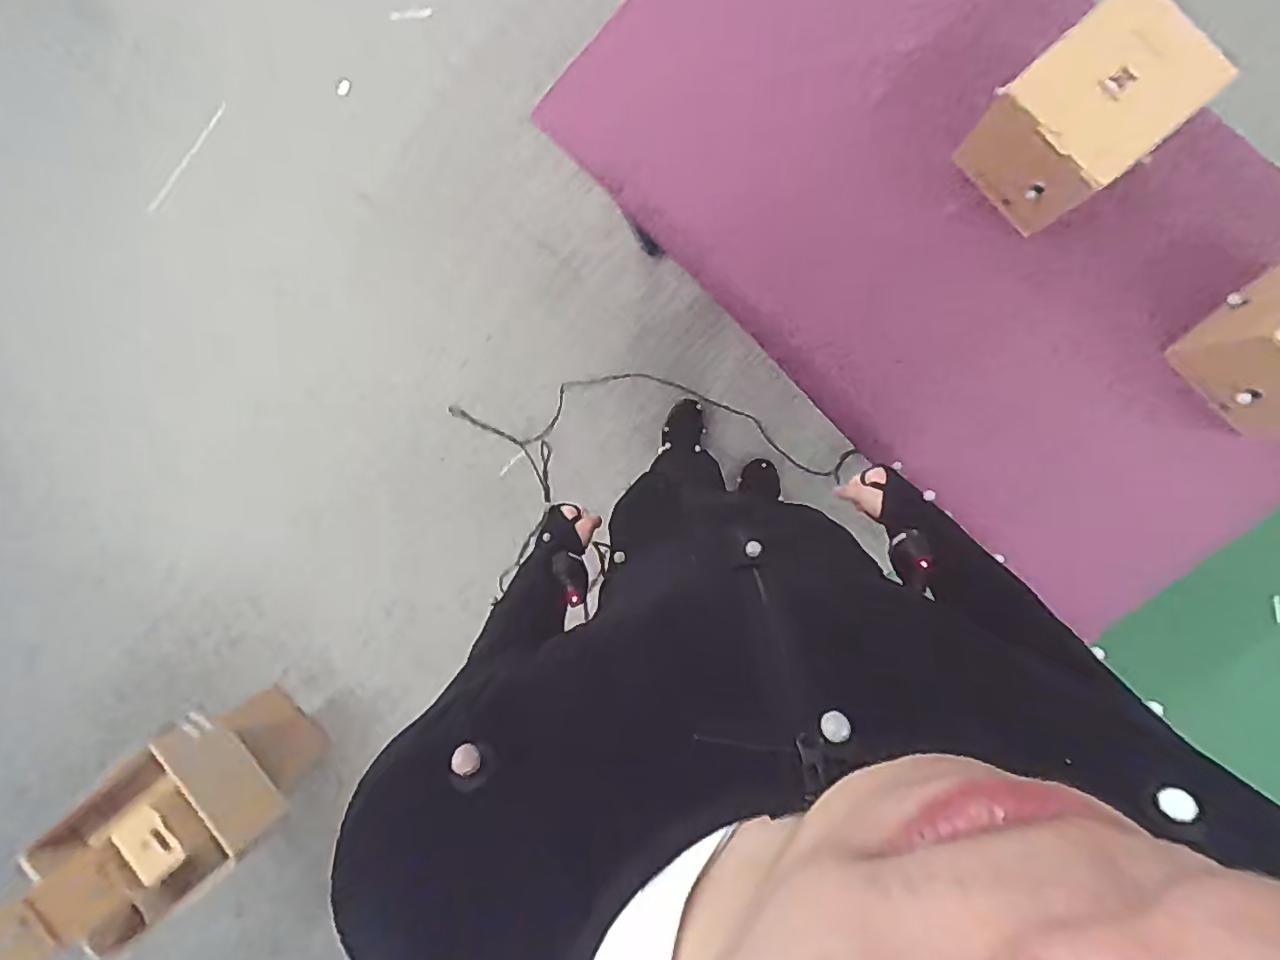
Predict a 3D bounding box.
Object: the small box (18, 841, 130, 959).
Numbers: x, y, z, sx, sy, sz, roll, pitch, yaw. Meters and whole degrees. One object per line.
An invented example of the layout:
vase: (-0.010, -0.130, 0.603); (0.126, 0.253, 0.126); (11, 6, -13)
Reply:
small box: (-1.432, 1.050, 1.333); (0.179, 0.176, 0.168); (-39, 87, 8)

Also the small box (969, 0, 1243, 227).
small box: (0.560, -0.463, 0.689); (0.179, 0.176, 0.168); (-40, 88, 11)

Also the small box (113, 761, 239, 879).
small box: (-1.223, 0.896, 1.443); (0.179, 0.176, 0.168); (-38, 87, 13)

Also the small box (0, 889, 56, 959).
small box: (-1.446, 1.051, 1.168); (0.179, 0.176, 0.168); (-40, 87, 8)

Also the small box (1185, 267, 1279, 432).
small box: (0.842, -0.170, 0.662); (0.179, 0.176, 0.168); (-43, 86, 12)
